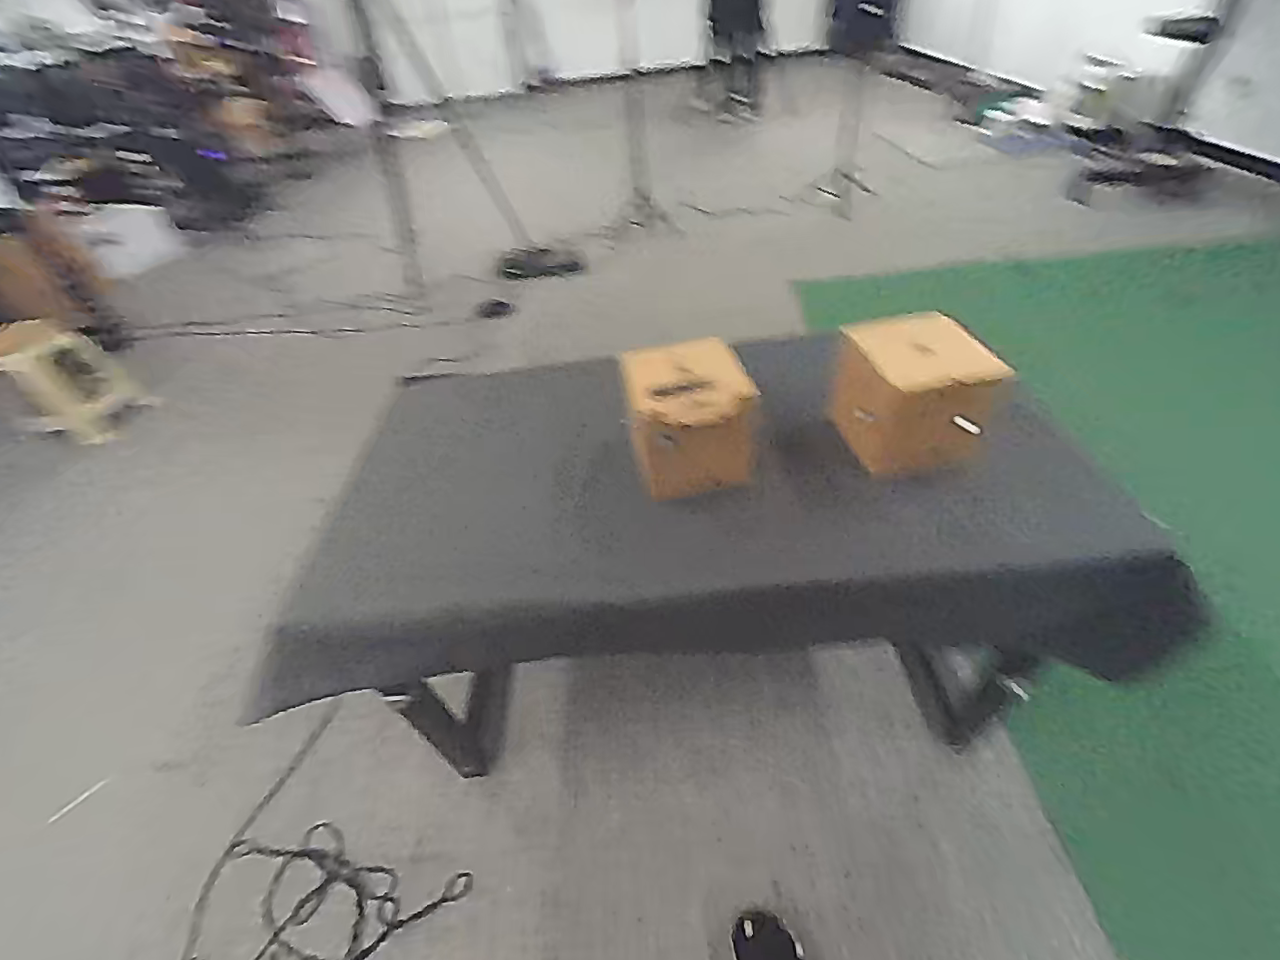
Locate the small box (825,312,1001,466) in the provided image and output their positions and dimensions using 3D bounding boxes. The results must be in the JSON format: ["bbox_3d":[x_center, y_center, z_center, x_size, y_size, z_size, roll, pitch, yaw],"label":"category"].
[{"bbox_3d":[0.408,-0.136,0.845,0.168,0.176,0.179,-10,43,-4],"label":"small box"}]
